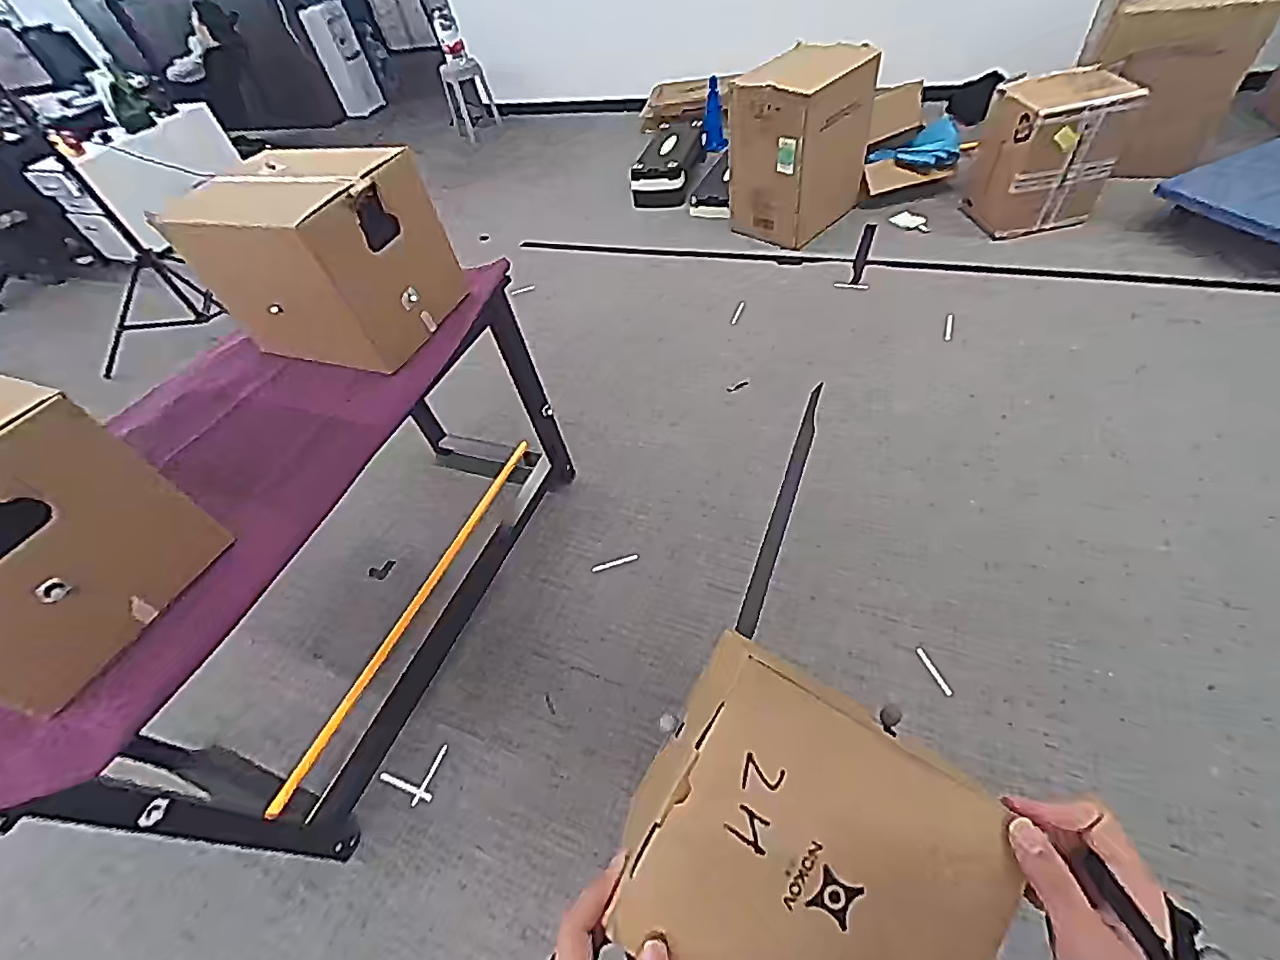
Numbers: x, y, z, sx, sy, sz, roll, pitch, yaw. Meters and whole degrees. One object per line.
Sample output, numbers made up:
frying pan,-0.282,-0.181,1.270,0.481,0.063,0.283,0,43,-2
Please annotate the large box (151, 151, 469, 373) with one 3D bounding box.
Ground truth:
large box,-0.649,-0.452,1.130,0.408,0.320,0.320,11,53,21
